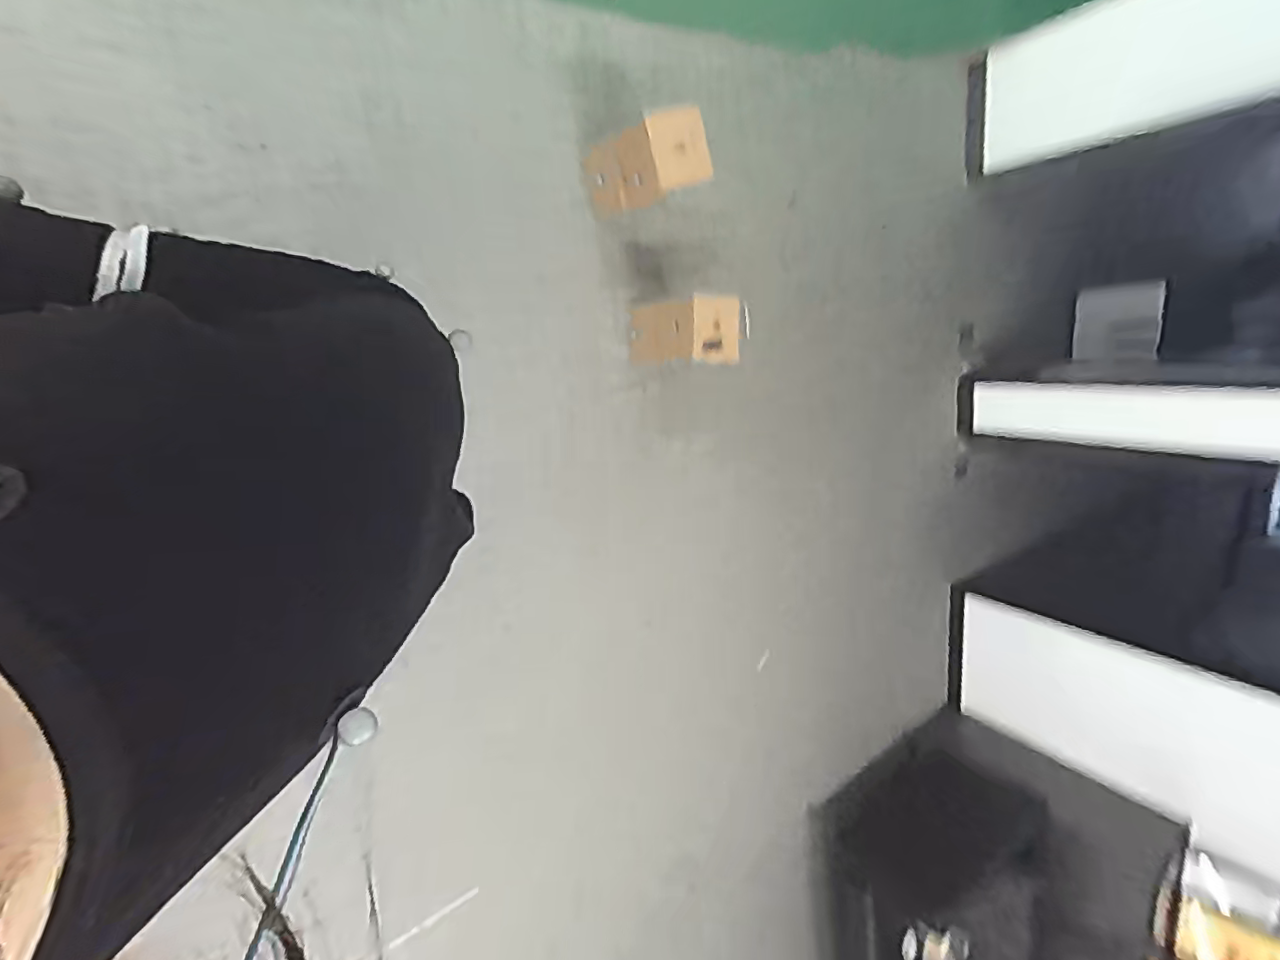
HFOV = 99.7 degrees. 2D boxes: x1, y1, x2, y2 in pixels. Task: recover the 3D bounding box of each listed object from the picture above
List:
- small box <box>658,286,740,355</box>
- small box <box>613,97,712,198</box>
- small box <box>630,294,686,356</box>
[{"bbox_3d":[0.163,-0.445,1.531,0.168,0.176,0.179,-9,104,-31],"label":"small box"},{"bbox_3d":[0.050,-0.838,1.374,0.179,0.176,0.168,-29,115,-26],"label":"small box"},{"bbox_3d":[0.081,-0.476,1.672,0.168,0.176,0.179,-10,106,-32],"label":"small box"}]
